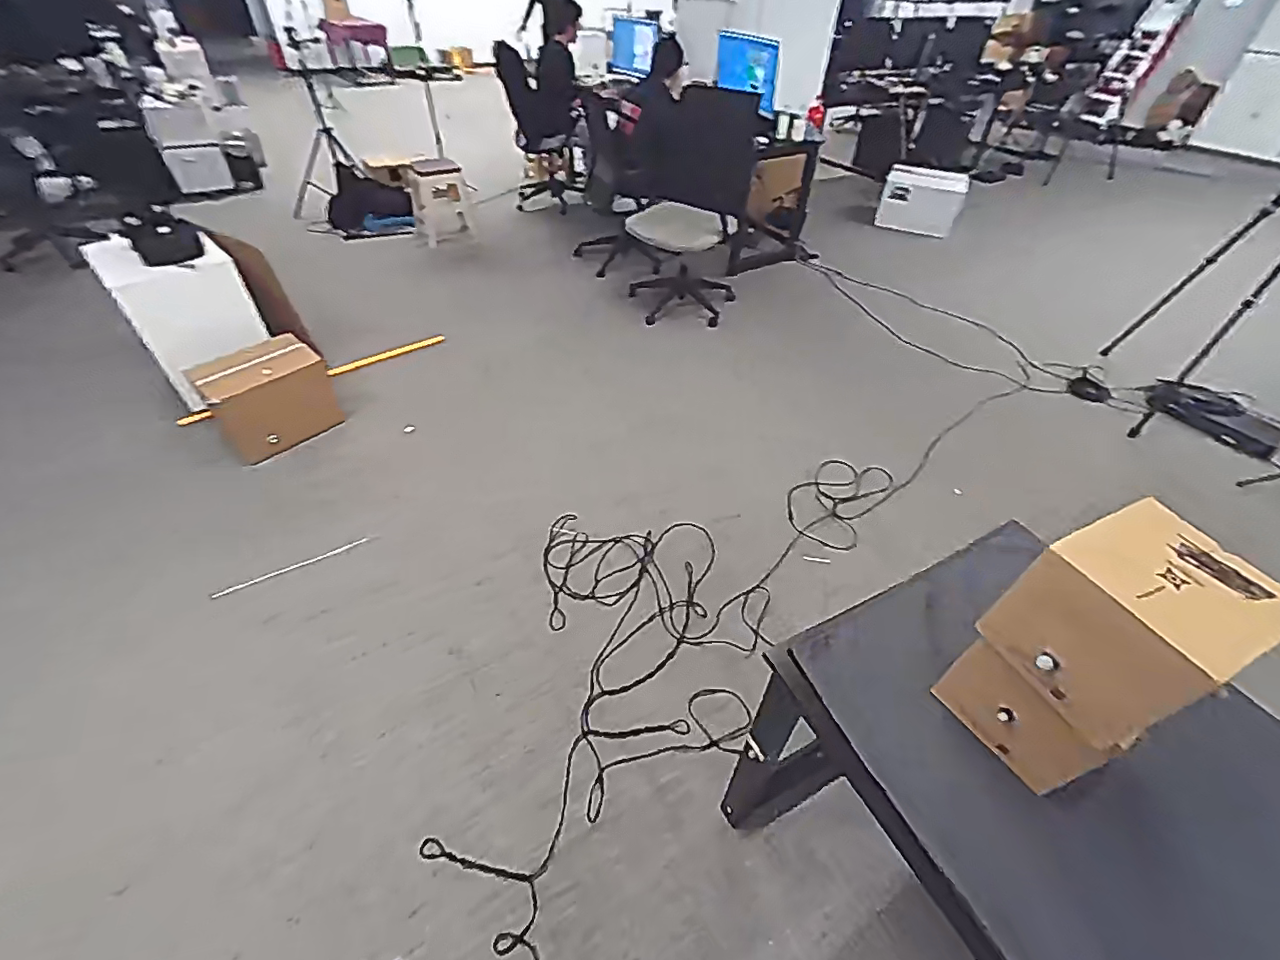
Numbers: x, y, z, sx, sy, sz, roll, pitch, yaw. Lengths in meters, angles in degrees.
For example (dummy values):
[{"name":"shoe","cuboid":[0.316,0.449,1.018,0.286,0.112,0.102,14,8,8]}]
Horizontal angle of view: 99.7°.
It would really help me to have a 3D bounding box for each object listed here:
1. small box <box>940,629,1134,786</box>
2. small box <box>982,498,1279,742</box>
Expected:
[{"name":"small box","cuboid":[0.537,0.265,0.717,0.179,0.176,0.168,-23,51,-25]},{"name":"small box","cuboid":[0.530,0.153,0.596,0.179,0.176,0.168,-17,48,-19]}]
